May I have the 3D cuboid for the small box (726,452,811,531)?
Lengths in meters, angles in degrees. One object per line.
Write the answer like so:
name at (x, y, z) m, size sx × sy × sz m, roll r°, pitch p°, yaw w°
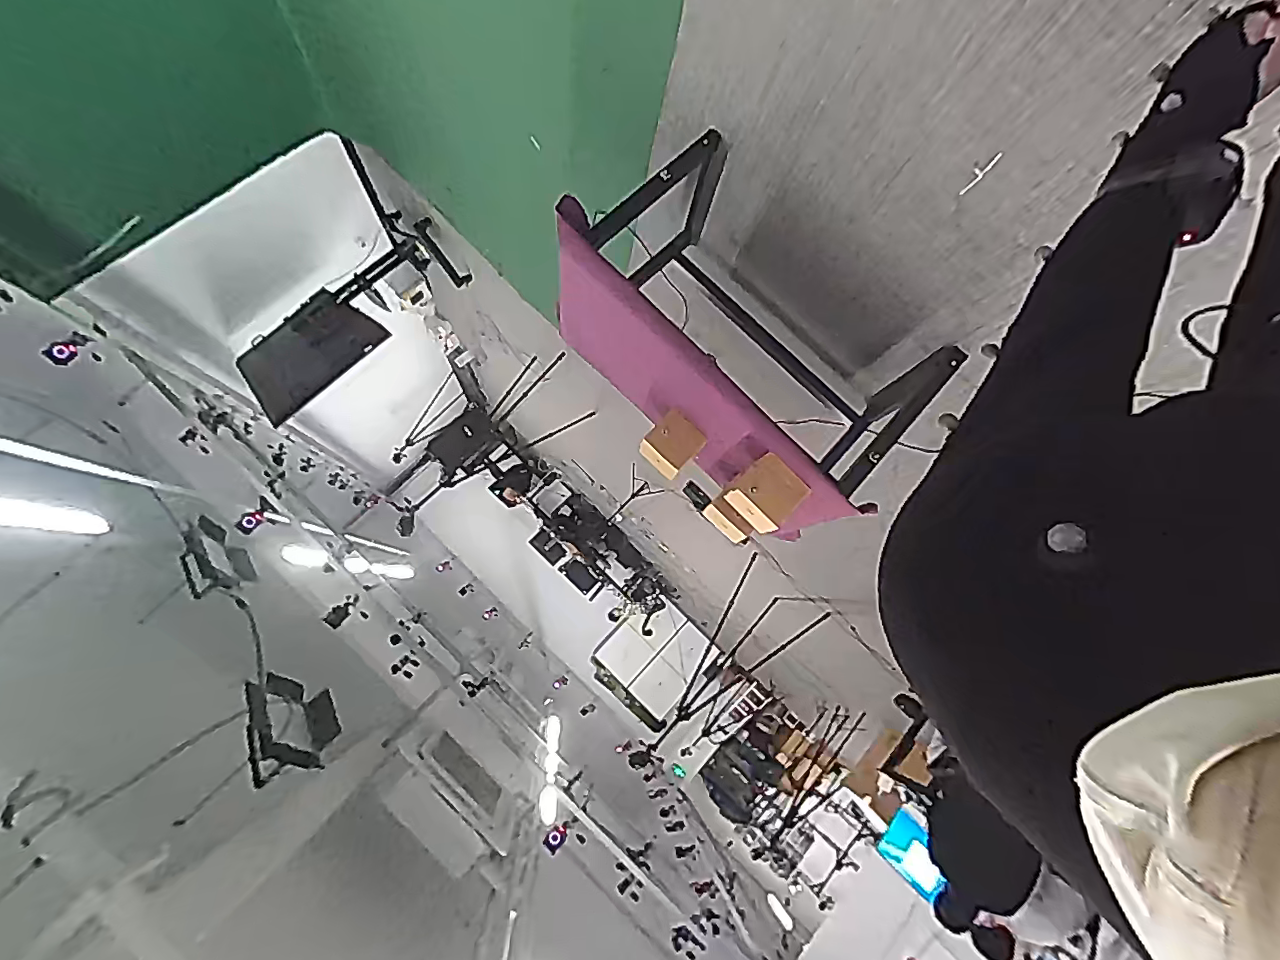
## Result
small box at (0.407, 0.039, 1.712) m, size 0.179 × 0.176 × 0.168 m, roll 45°, pitch 168°, yaw 3°

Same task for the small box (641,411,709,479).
small box at (0.128, -0.135, 2.016) m, size 0.179 × 0.176 × 0.168 m, roll 43°, pitch 166°, yaw 5°

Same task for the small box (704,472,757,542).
small box at (0.369, 0.100, 1.994) m, size 0.179 × 0.176 × 0.168 m, roll 44°, pitch 165°, yaw 6°
